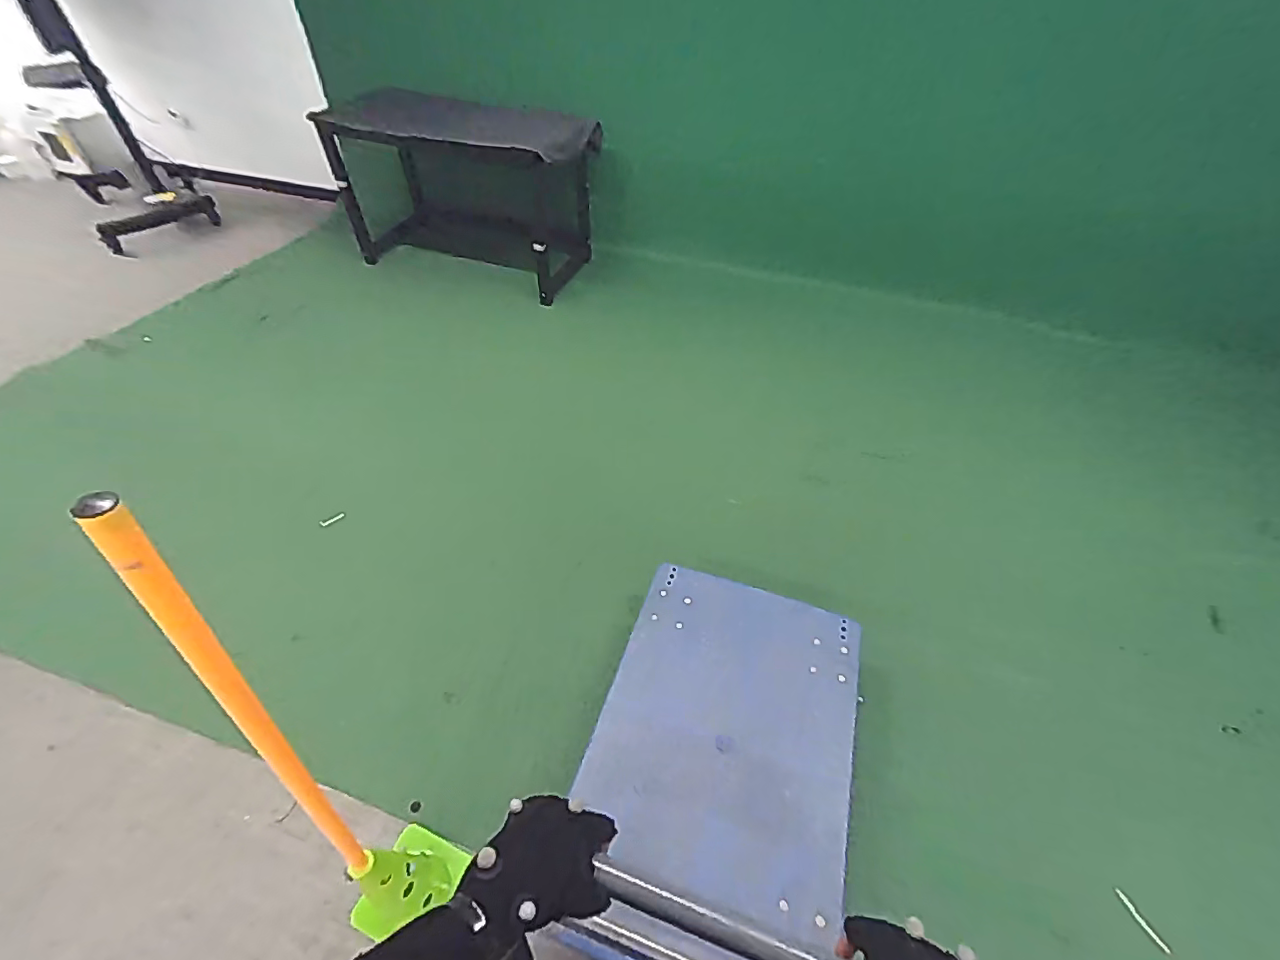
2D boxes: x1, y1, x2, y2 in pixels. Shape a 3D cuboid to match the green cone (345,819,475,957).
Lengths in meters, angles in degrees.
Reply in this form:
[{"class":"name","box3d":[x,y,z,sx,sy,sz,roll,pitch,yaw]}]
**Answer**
[{"class":"green cone","box3d":[-0.485,0.760,1.055,0.202,0.368,0.200,18,48,15]}]
